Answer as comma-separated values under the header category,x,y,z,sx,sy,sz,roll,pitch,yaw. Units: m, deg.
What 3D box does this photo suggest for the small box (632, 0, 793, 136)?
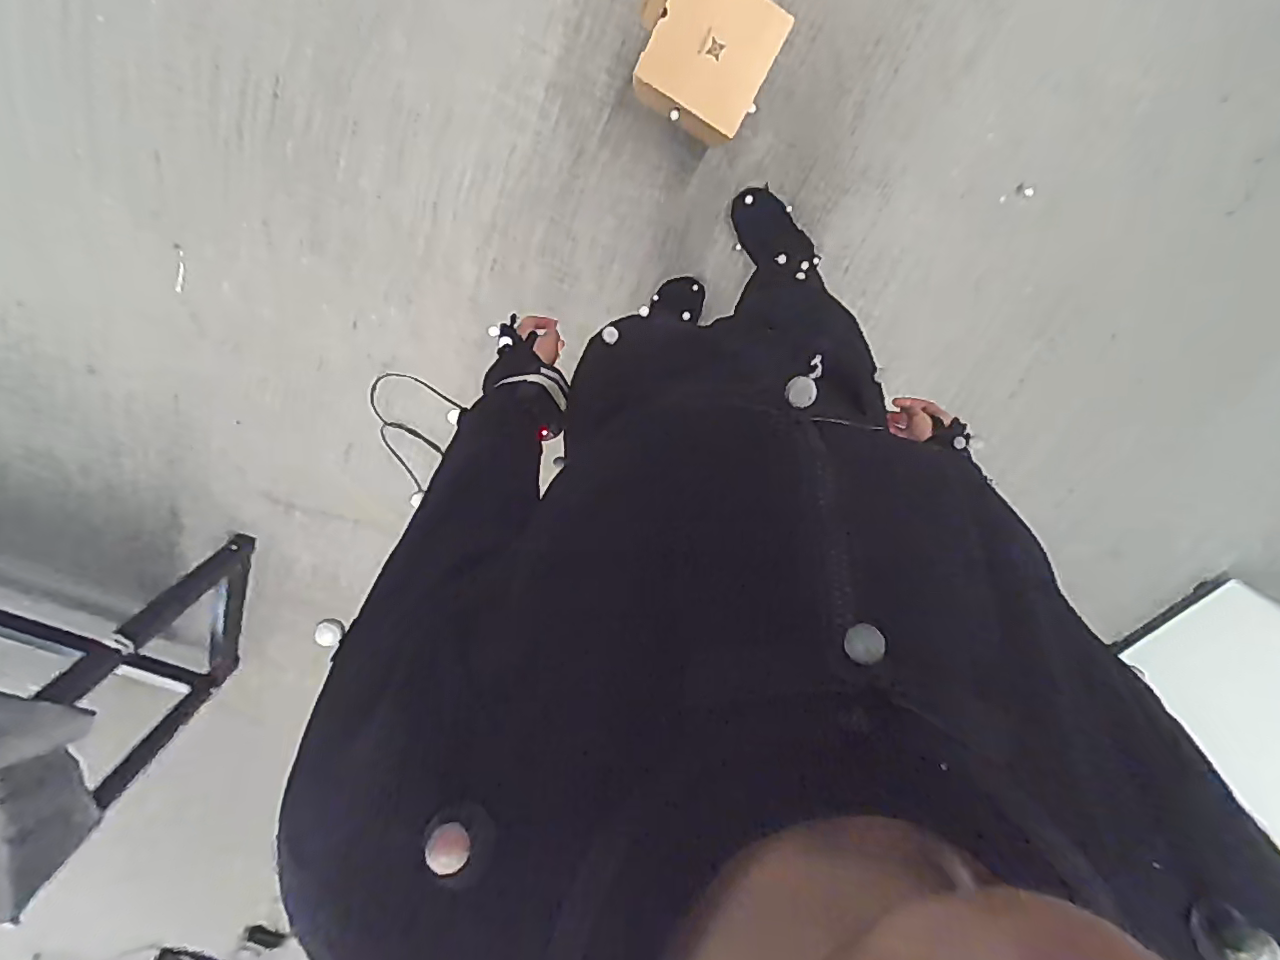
category,x,y,z,sx,sy,sz,roll,pitch,yaw
small box,0.104,-0.663,0.838,0.179,0.176,0.168,26,115,-11
